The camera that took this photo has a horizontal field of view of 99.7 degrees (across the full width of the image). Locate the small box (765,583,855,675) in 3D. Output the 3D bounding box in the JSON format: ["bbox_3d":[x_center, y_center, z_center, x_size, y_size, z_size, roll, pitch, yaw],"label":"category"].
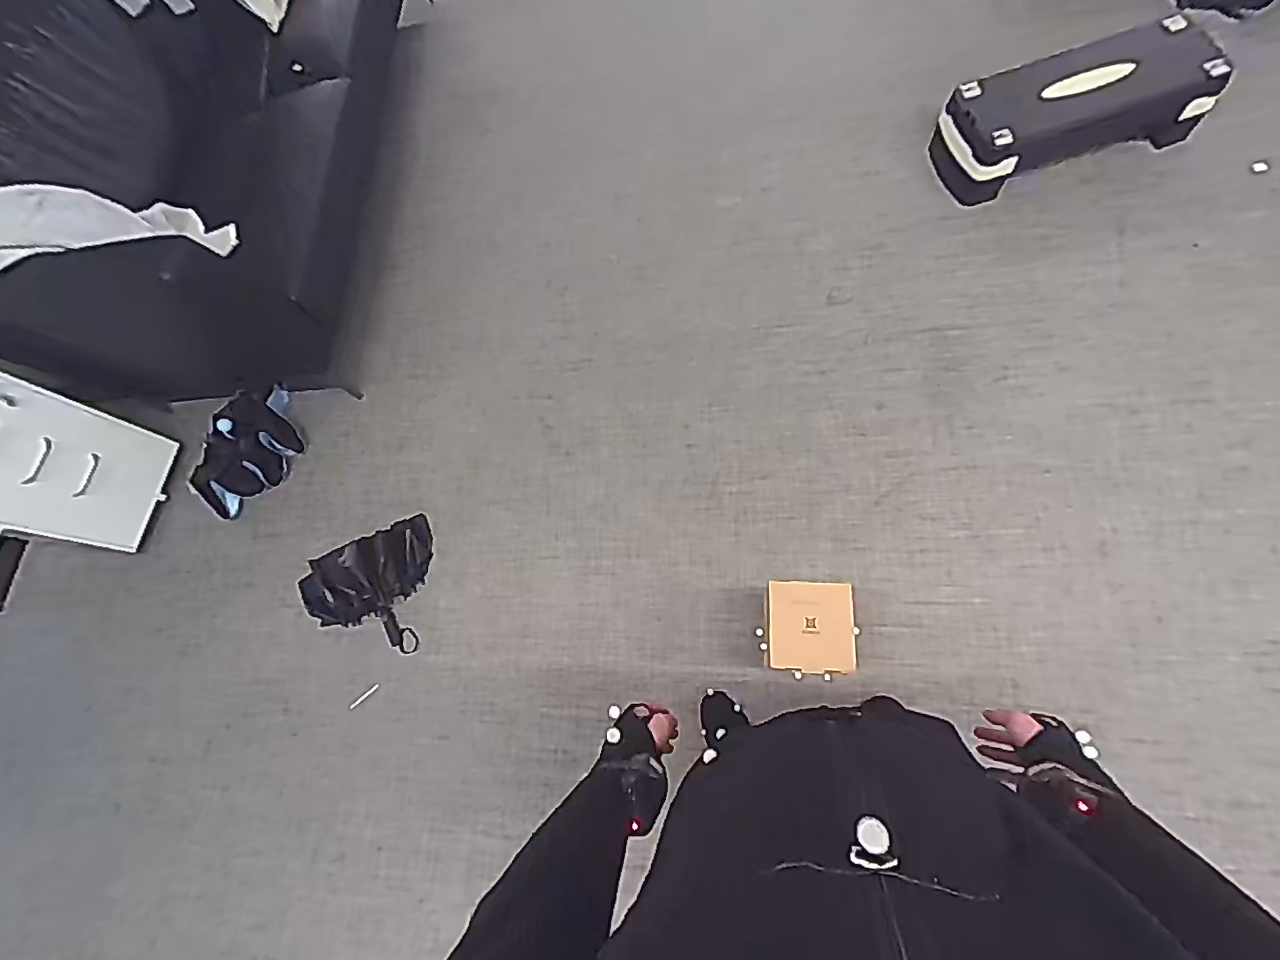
[{"bbox_3d":[0.359,0.323,1.165,0.168,0.176,0.179,-1,70,10],"label":"small box"}]

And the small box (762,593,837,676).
[{"bbox_3d":[0.385,0.377,1.316,0.168,0.176,0.179,1,72,12],"label":"small box"}]
